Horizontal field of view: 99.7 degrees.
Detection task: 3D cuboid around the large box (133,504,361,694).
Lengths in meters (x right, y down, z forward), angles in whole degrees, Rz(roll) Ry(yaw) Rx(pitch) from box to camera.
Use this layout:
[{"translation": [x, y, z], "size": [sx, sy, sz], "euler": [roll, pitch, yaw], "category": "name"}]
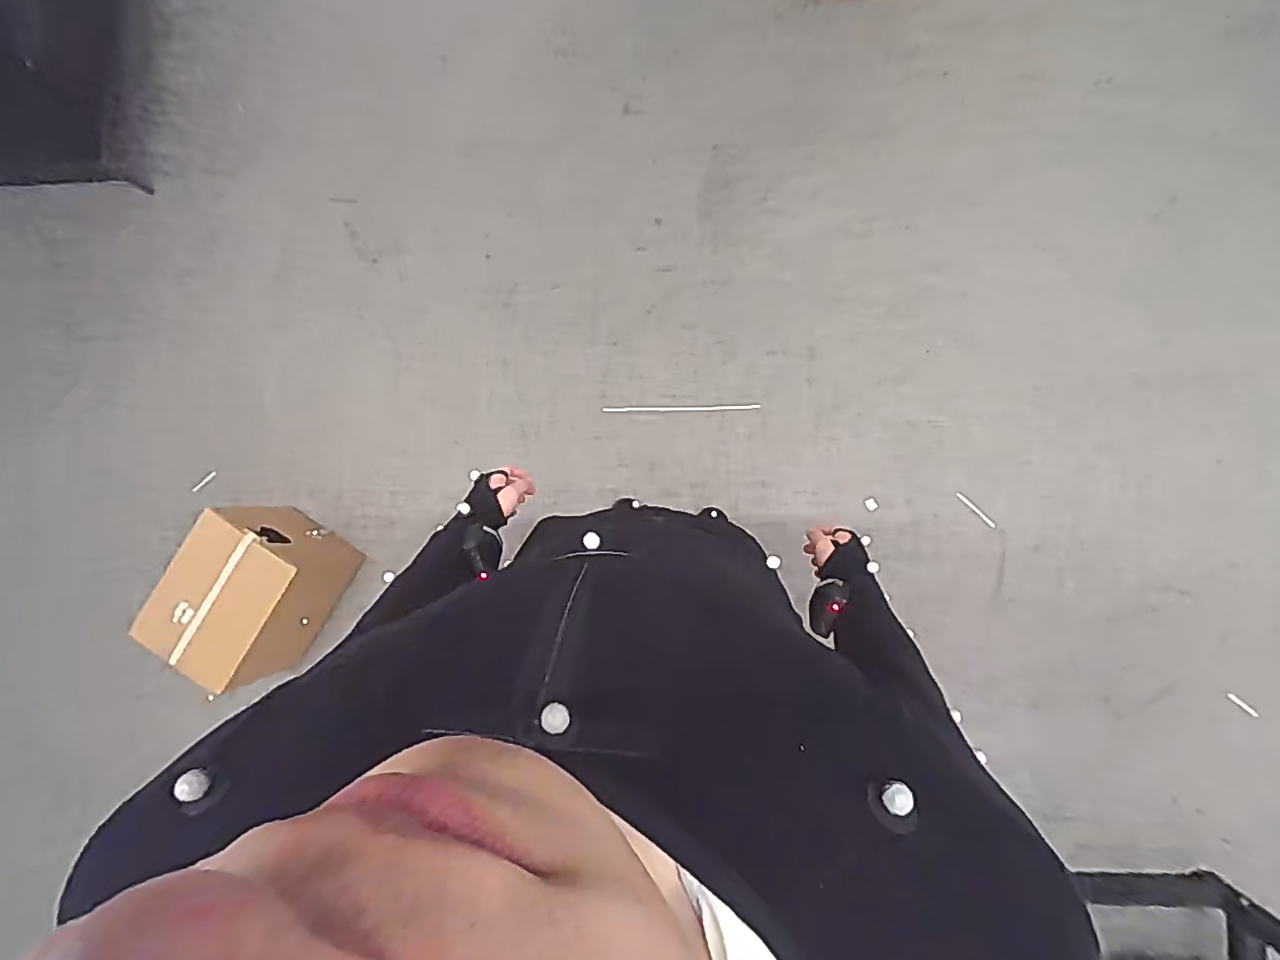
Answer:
[{"translation": [-1.110, 0.317, 1.569], "size": [0.320, 0.320, 0.408], "euler": [32, 92, 5], "category": "large box"}]
